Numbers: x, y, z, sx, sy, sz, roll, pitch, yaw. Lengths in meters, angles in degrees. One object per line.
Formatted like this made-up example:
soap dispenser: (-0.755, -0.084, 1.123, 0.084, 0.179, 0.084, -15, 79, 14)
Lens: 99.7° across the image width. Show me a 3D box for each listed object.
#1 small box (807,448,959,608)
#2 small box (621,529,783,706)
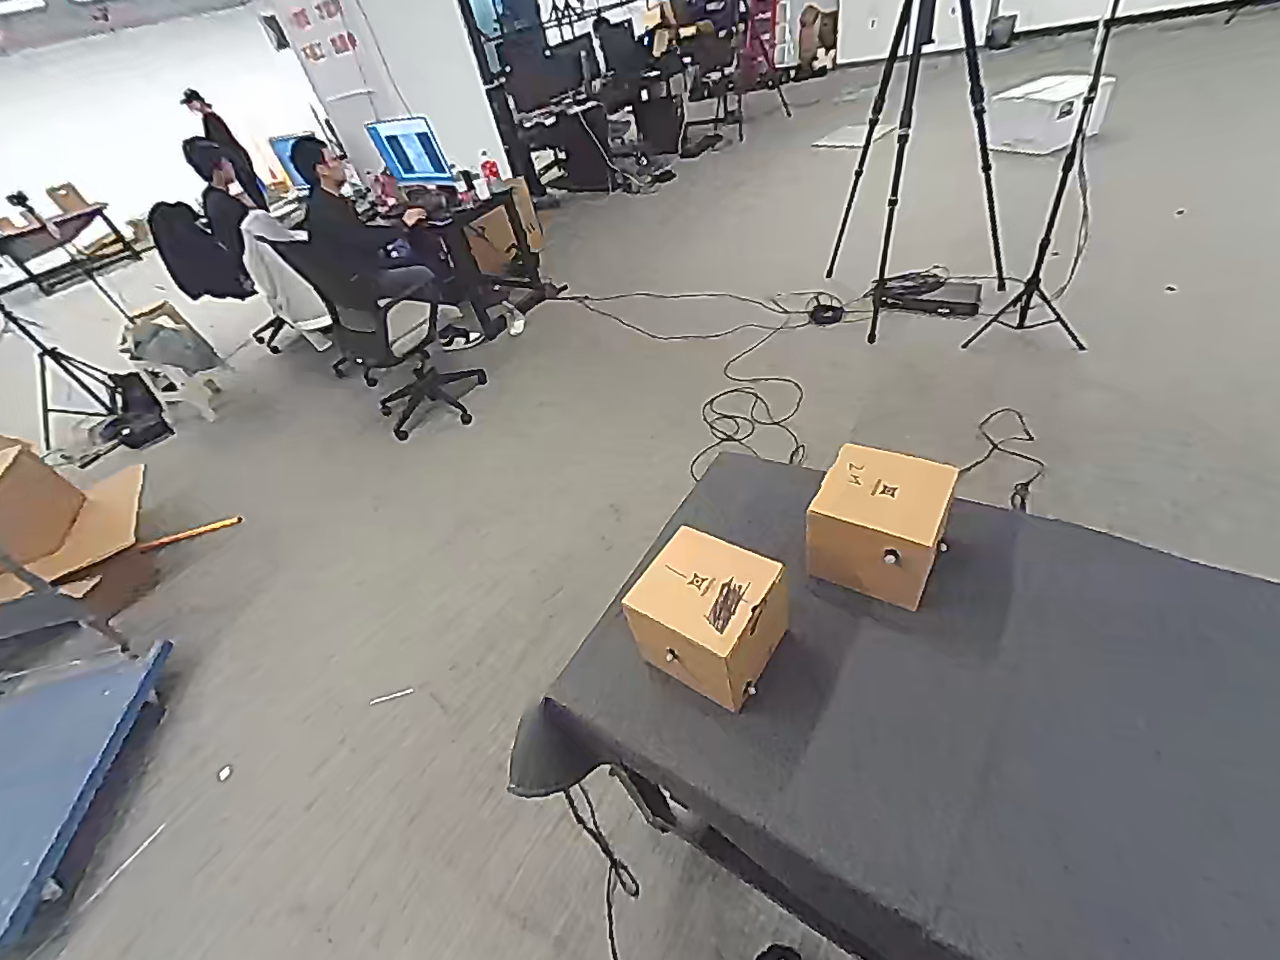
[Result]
small box: (0.383, 0.079, 0.869, 0.179, 0.176, 0.168, 18, 52, 31)
small box: (0.102, 0.210, 0.815, 0.179, 0.176, 0.168, 20, 52, 33)
